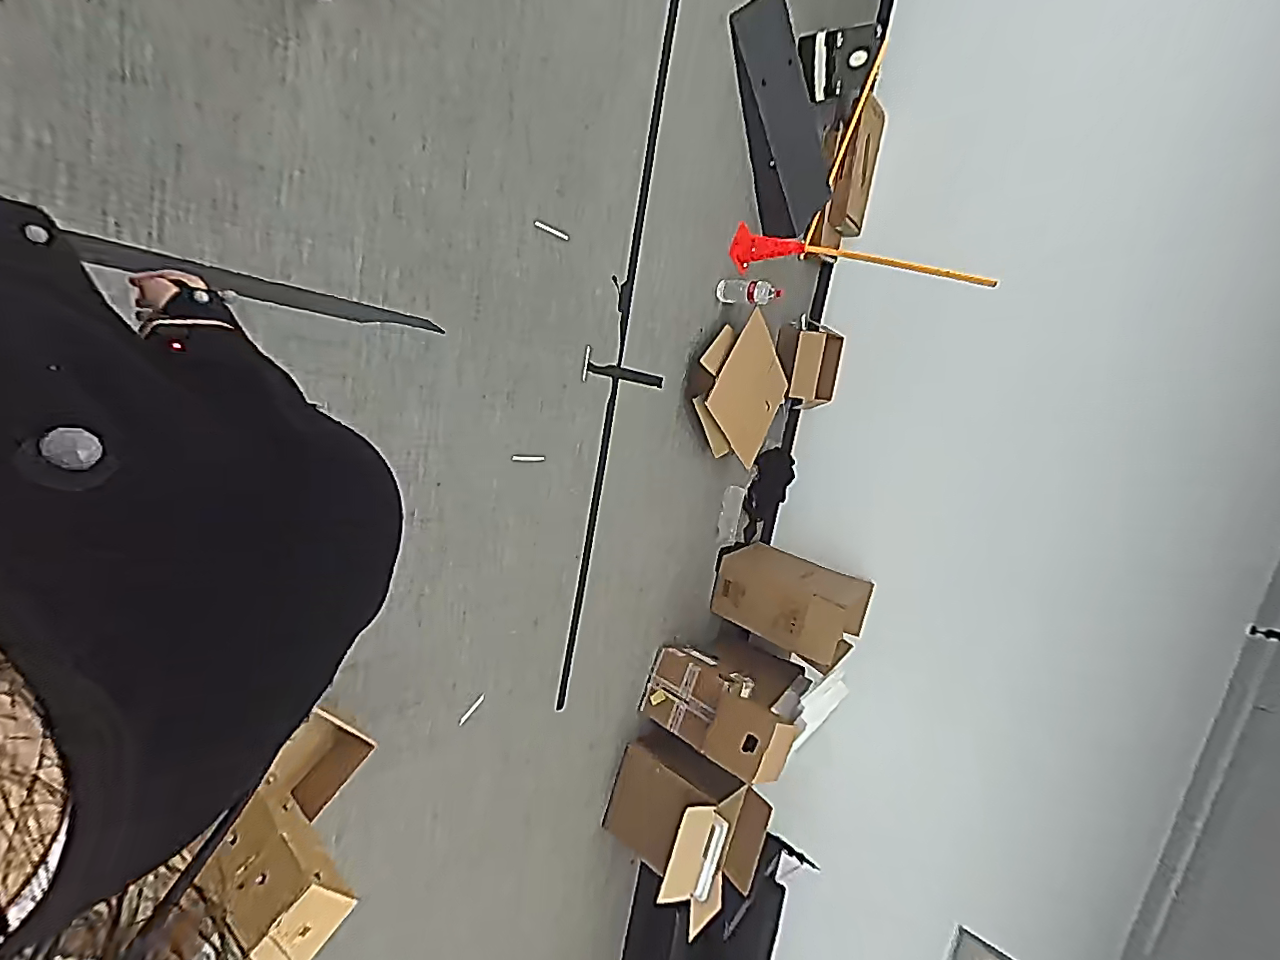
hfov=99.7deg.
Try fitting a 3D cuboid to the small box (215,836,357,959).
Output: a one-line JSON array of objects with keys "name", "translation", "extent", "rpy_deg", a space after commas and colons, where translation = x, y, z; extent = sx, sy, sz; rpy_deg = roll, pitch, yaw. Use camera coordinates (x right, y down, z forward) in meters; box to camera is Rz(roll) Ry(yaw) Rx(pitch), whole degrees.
[{"name": "small box", "translation": [-0.777, 0.929, 1.192], "extent": [0.168, 0.176, 0.179], "rpy_deg": [-48, 139, -29]}]

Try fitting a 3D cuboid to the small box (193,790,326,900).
[{"name": "small box", "translation": [-0.903, 0.877, 1.283], "extent": [0.168, 0.176, 0.179], "rpy_deg": [-47, 138, -30]}]
